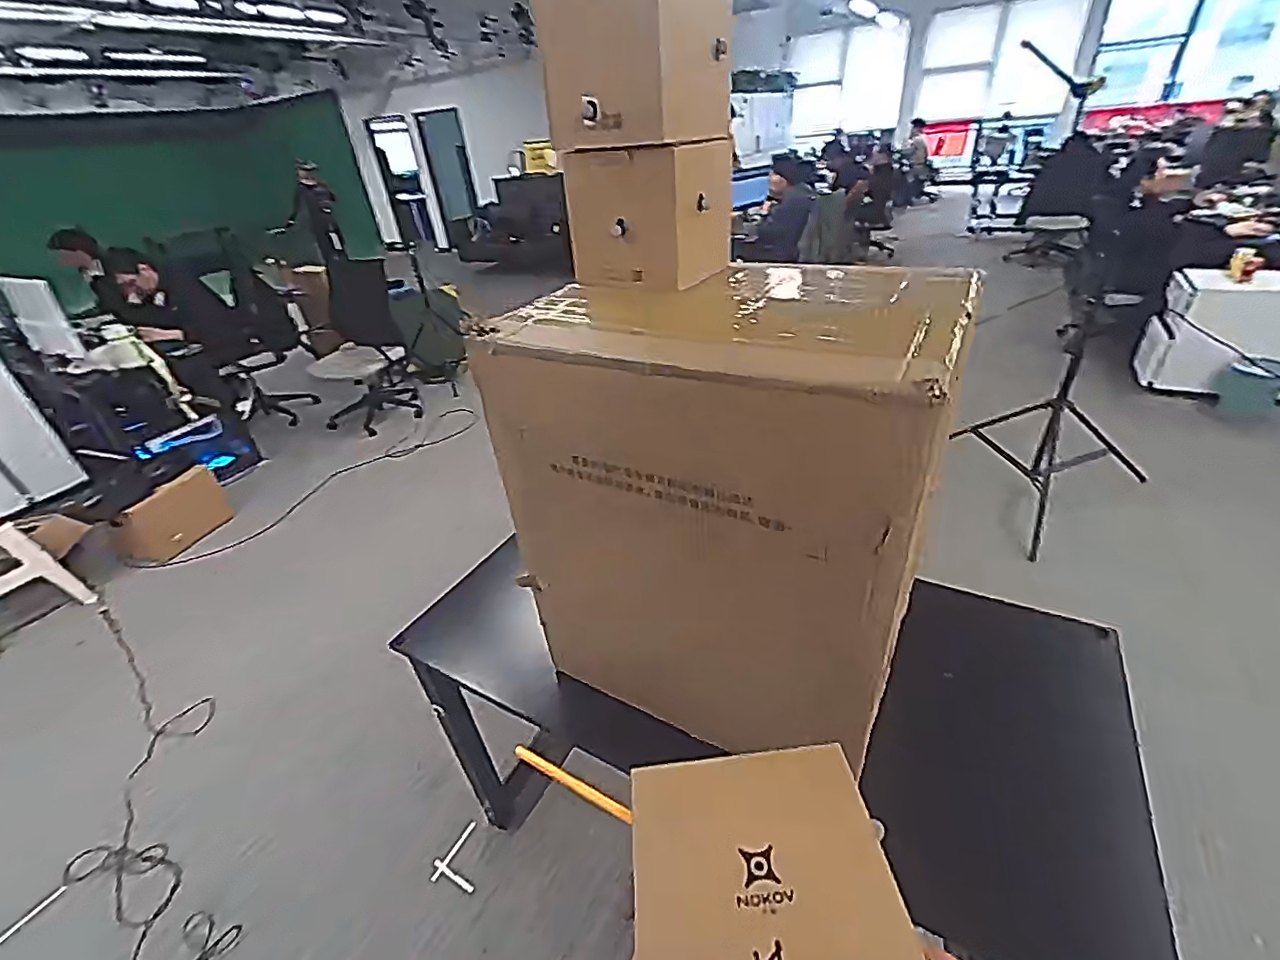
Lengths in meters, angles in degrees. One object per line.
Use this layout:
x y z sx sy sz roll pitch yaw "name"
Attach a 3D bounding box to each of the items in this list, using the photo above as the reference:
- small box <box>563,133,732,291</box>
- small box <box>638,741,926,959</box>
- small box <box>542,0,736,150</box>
0.020 -0.368 0.745 0.168 0.176 0.179 15 38 27 "small box"
0.089 0.323 0.387 0.168 0.176 0.179 -8 29 3 "small box"
0.003 -0.496 0.644 0.168 0.176 0.179 15 38 29 "small box"
